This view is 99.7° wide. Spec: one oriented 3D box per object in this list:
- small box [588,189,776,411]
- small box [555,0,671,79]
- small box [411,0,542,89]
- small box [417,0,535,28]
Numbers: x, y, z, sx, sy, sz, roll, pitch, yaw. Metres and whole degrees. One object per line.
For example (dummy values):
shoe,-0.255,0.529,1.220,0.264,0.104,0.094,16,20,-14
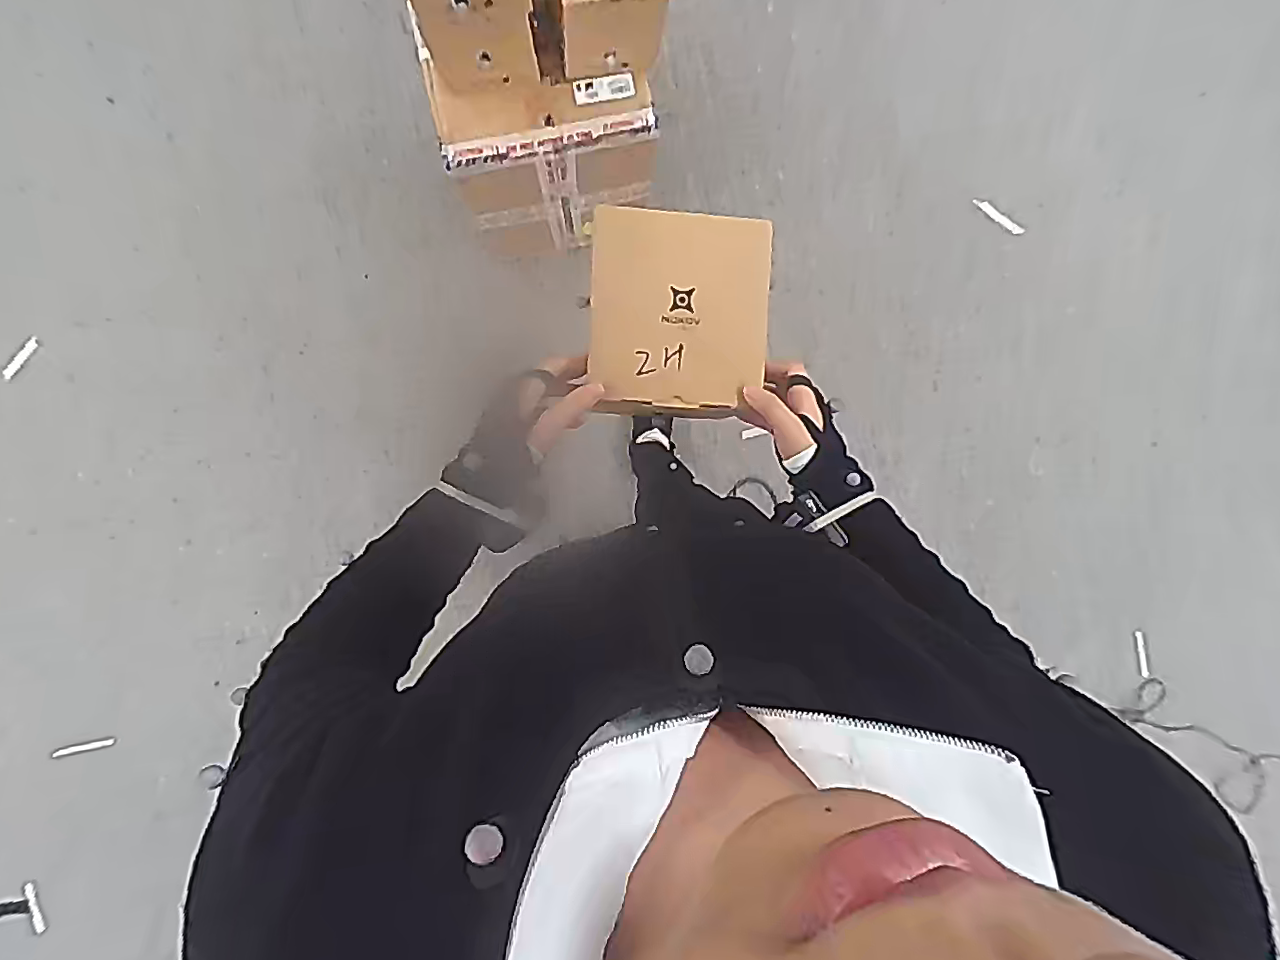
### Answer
small box,0.032,-0.171,0.567,0.168,0.176,0.179,2,93,-5
small box,-0.053,-0.794,0.867,0.168,0.176,0.179,-10,95,-4
small box,-0.258,-0.758,0.856,0.168,0.176,0.179,-9,95,-1
small box,-0.241,-0.741,0.694,0.168,0.176,0.179,-9,95,0
